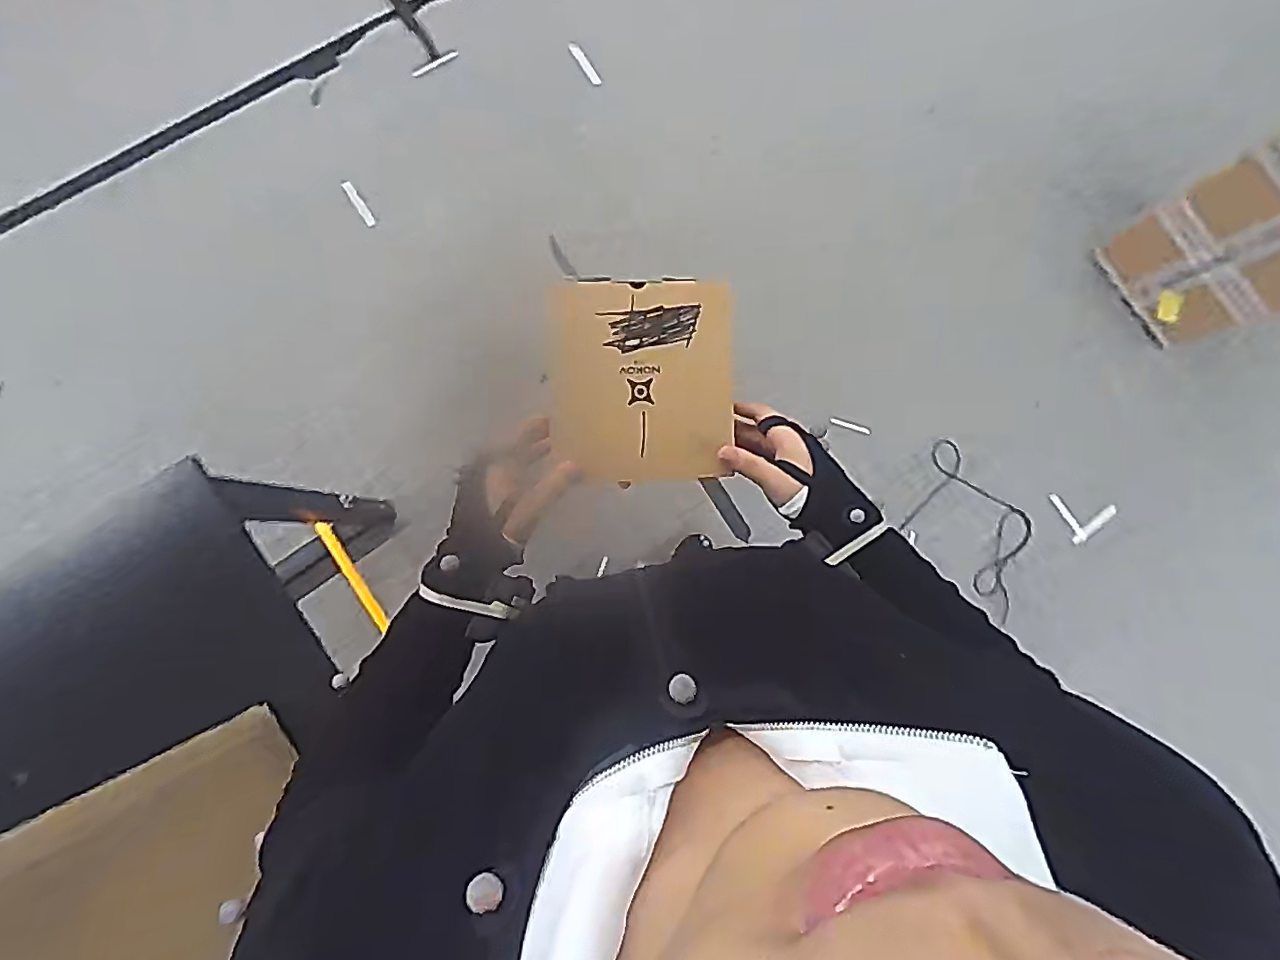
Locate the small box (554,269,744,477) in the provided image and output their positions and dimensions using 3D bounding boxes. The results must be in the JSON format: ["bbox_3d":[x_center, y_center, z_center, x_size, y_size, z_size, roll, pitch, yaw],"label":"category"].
[{"bbox_3d":[-0.001,-0.098,0.543,0.168,0.176,0.179,-3,96,-7],"label":"small box"}]
